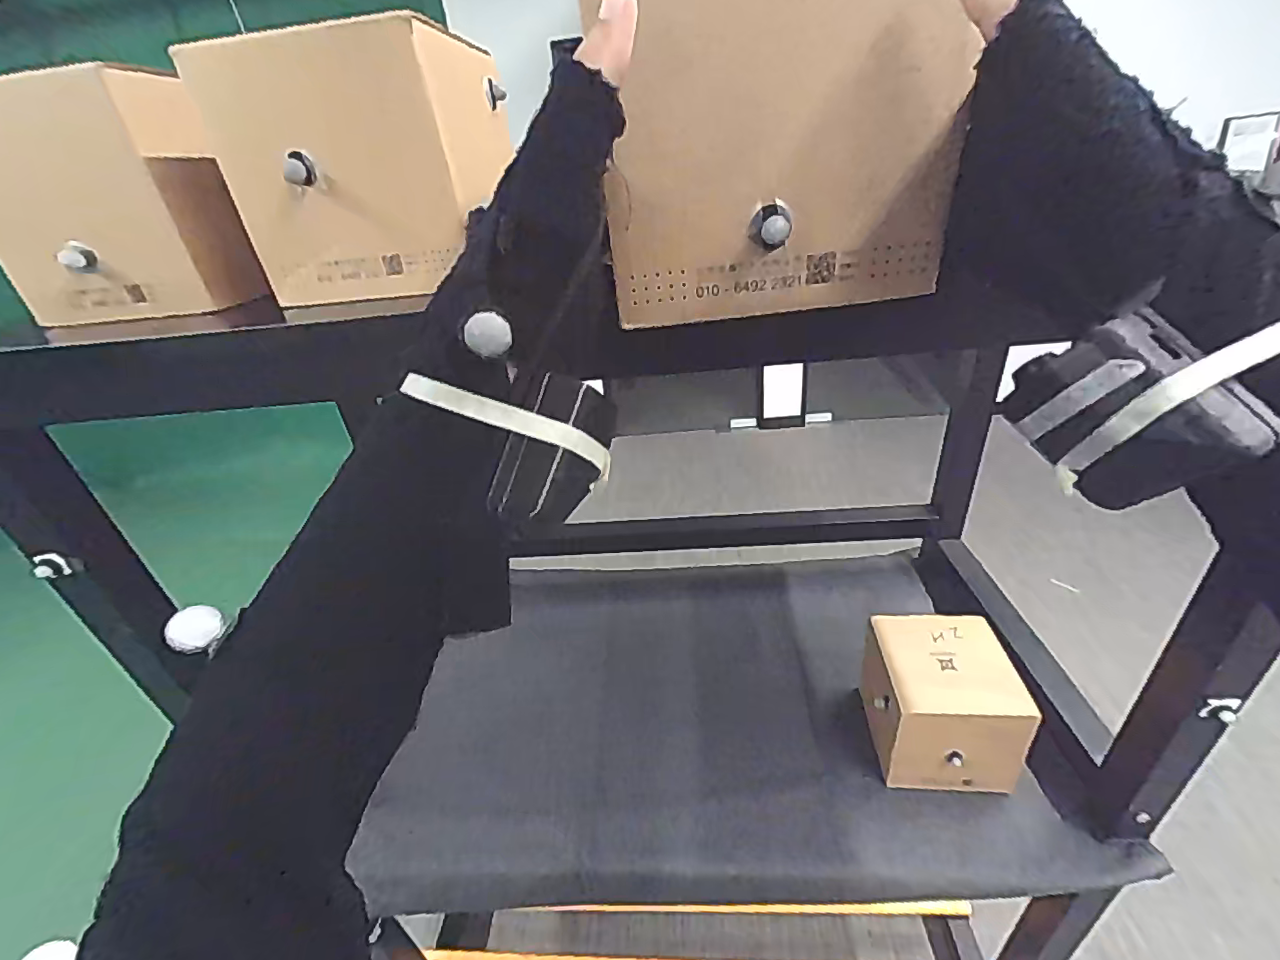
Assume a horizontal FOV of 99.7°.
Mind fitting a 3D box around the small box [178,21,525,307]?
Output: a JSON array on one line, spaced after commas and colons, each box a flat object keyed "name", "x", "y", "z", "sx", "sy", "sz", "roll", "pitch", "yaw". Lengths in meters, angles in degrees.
[{"name": "small box", "x": -0.208, "y": -0.249, "z": 0.455, "sx": 0.168, "sy": 0.176, "sz": 0.179, "roll": -3, "pitch": 30, "yaw": 7}]

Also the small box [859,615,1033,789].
[{"name": "small box", "x": 0.429, "y": 0.321, "z": 0.791, "sx": 0.168, "sy": 0.176, "sz": 0.179, "roll": -1, "pitch": 30, "yaw": 9}]

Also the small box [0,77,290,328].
[{"name": "small box", "x": -0.431, "y": -0.245, "z": 0.490, "sx": 0.168, "sy": 0.176, "sz": 0.179, "roll": -3, "pitch": 31, "yaw": 6}]
